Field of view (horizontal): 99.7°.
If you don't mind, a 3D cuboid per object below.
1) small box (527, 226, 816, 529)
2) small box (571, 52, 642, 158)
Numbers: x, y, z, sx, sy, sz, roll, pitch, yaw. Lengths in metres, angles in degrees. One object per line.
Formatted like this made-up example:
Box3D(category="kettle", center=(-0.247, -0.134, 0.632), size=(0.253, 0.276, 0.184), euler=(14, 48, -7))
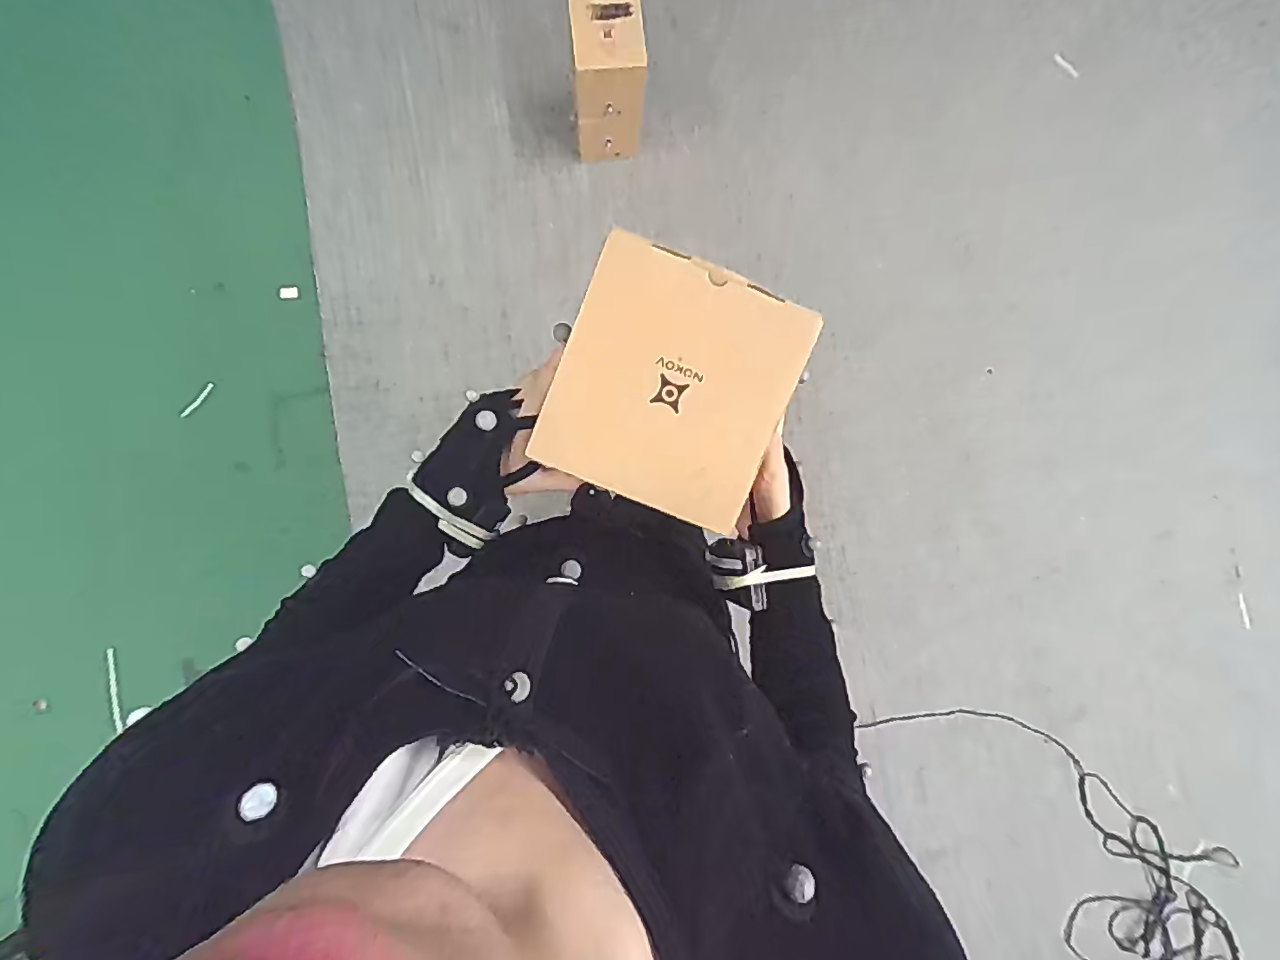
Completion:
Box3D(category="small box", center=(0.022, -0.081, 0.474), size=(0.168, 0.176, 0.179), euler=(22, 96, -3))
Box3D(category="small box", center=(-0.089, -1.002, 1.462), size=(0.168, 0.176, 0.179), euler=(-9, 90, -4))
